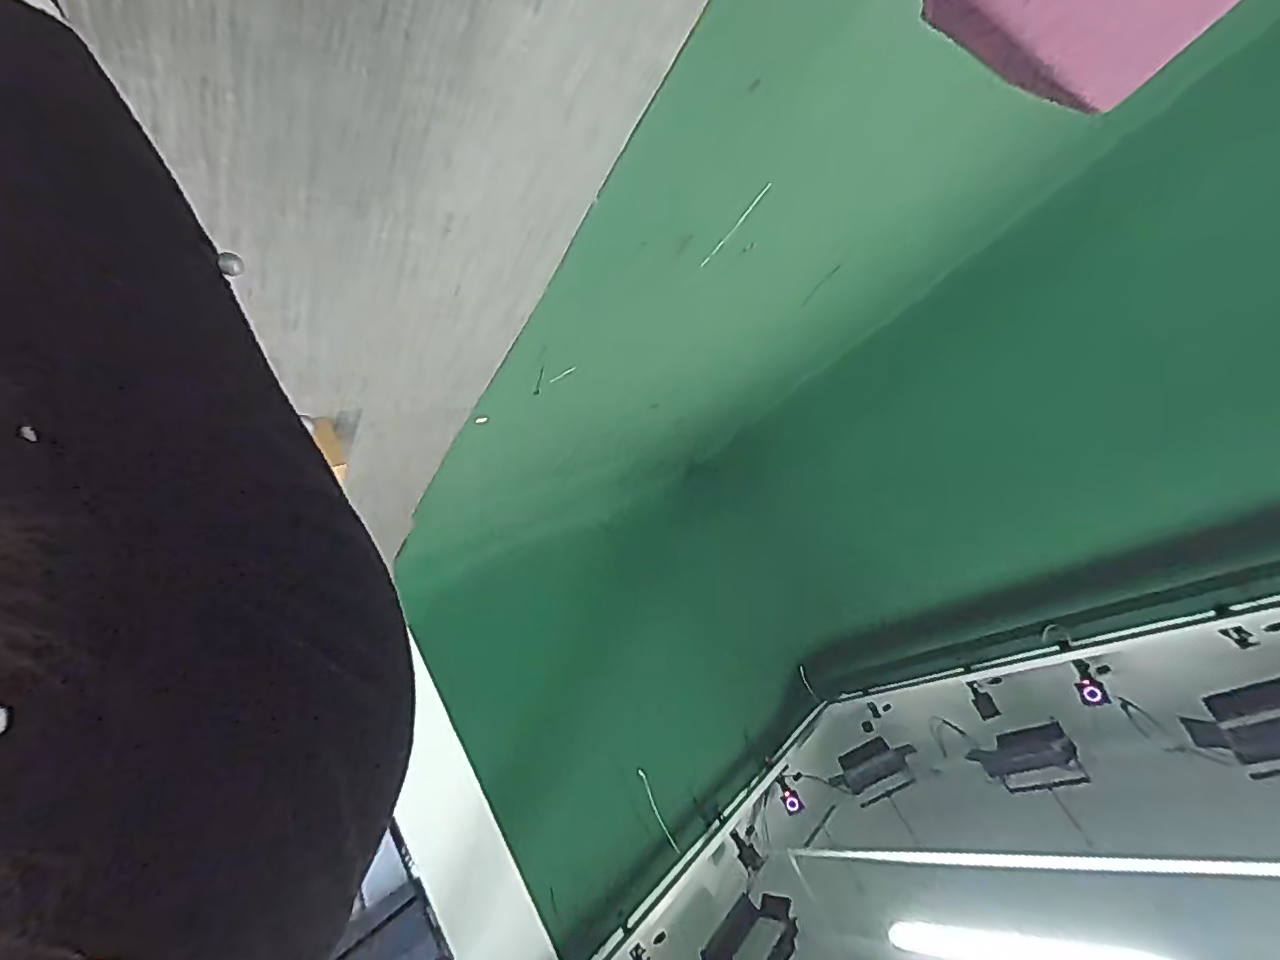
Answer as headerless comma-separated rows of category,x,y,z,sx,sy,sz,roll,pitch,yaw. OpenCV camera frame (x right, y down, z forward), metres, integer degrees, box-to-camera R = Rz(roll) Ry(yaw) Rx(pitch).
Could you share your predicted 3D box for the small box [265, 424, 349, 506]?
small box,-1.005,-0.050,1.626,0.179,0.176,0.168,-19,165,-41
